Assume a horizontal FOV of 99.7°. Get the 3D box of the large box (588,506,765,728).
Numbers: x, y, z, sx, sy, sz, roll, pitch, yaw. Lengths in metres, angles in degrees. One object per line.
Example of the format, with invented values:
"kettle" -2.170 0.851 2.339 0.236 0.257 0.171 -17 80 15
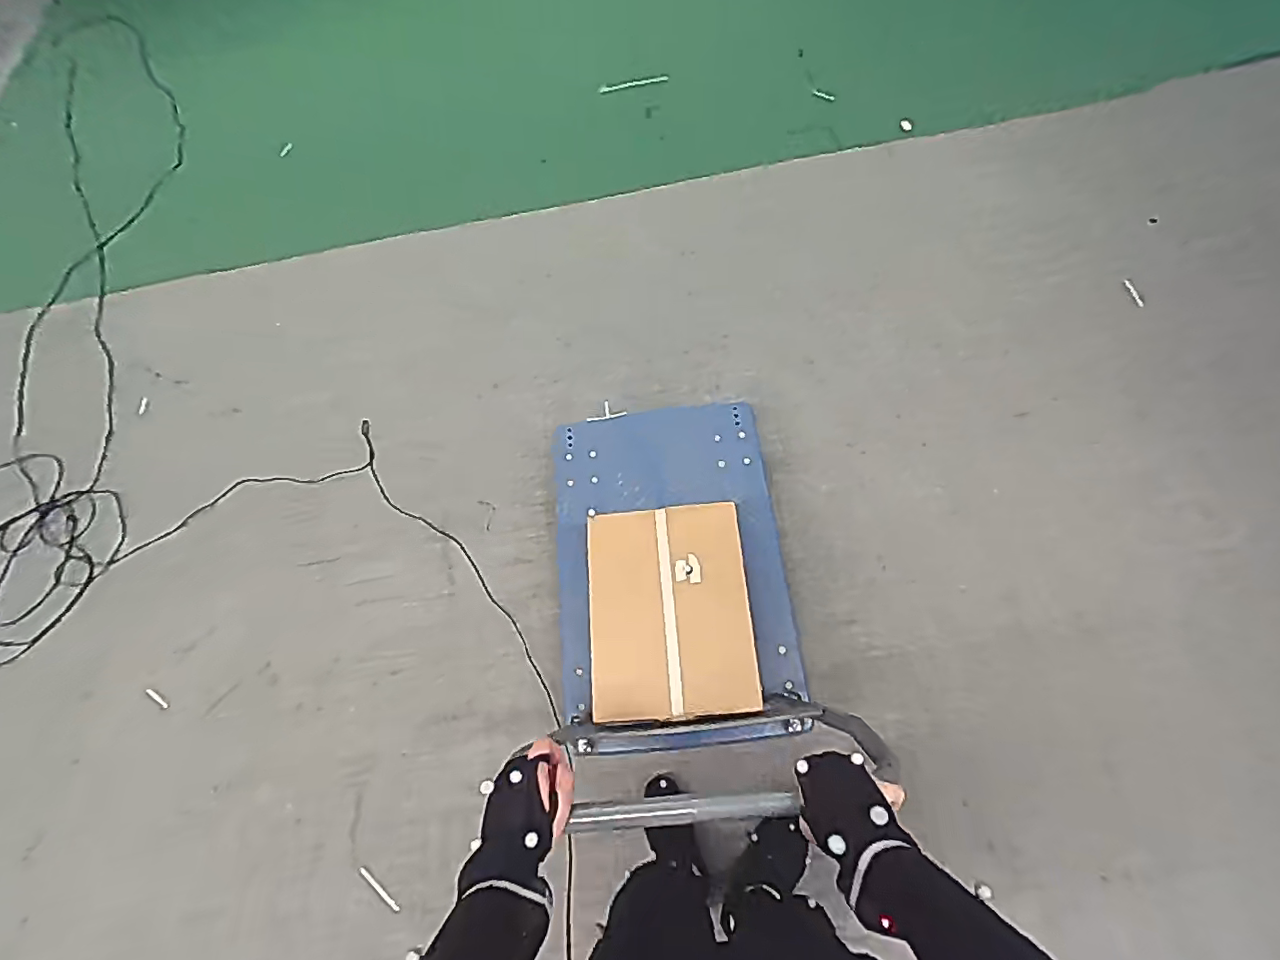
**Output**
"large box" 0.075 0.312 1.192 0.320 0.320 0.408 -6 66 4
